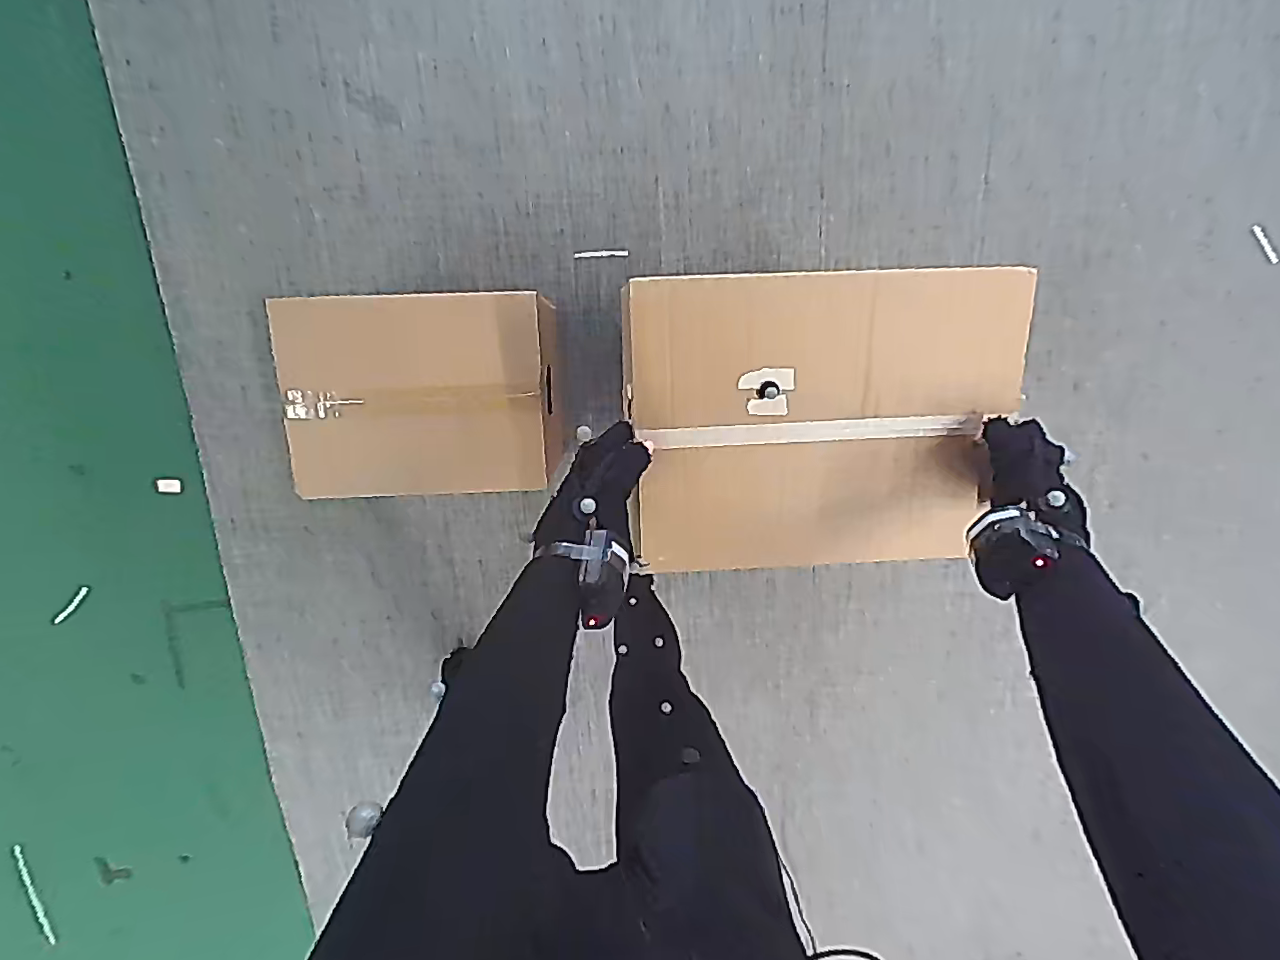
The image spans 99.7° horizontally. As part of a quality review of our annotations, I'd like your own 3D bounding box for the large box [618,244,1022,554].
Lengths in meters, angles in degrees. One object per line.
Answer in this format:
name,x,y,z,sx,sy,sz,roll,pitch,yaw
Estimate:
large box,0.183,-0.120,0.715,0.408,0.320,0.320,-3,108,-1
